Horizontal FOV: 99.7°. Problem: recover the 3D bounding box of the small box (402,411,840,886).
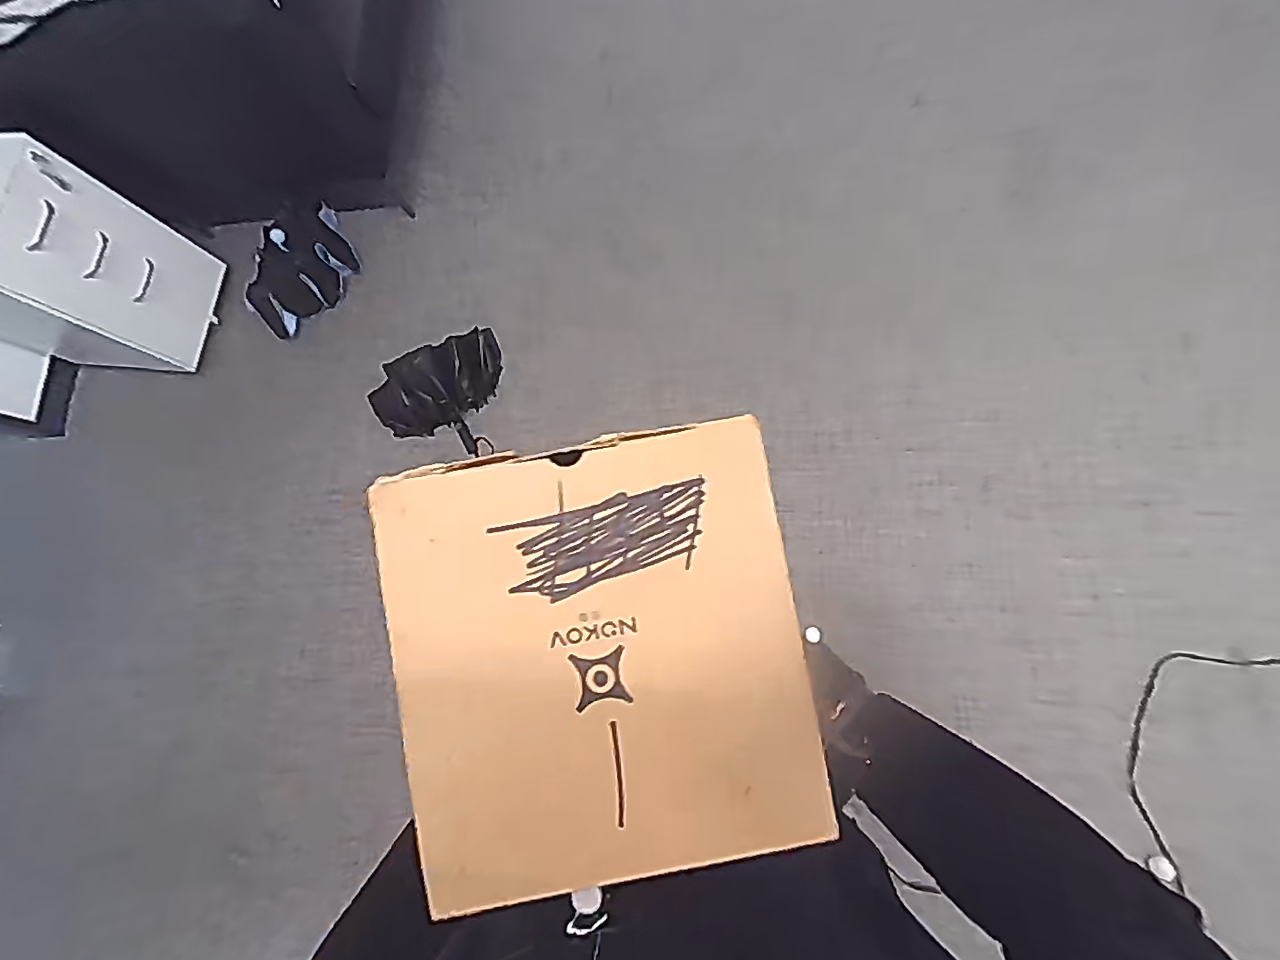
[{"bbox_3d":[-0.013,0.074,0.308,0.168,0.176,0.179,-10,84,-2],"label":"small box"}]
